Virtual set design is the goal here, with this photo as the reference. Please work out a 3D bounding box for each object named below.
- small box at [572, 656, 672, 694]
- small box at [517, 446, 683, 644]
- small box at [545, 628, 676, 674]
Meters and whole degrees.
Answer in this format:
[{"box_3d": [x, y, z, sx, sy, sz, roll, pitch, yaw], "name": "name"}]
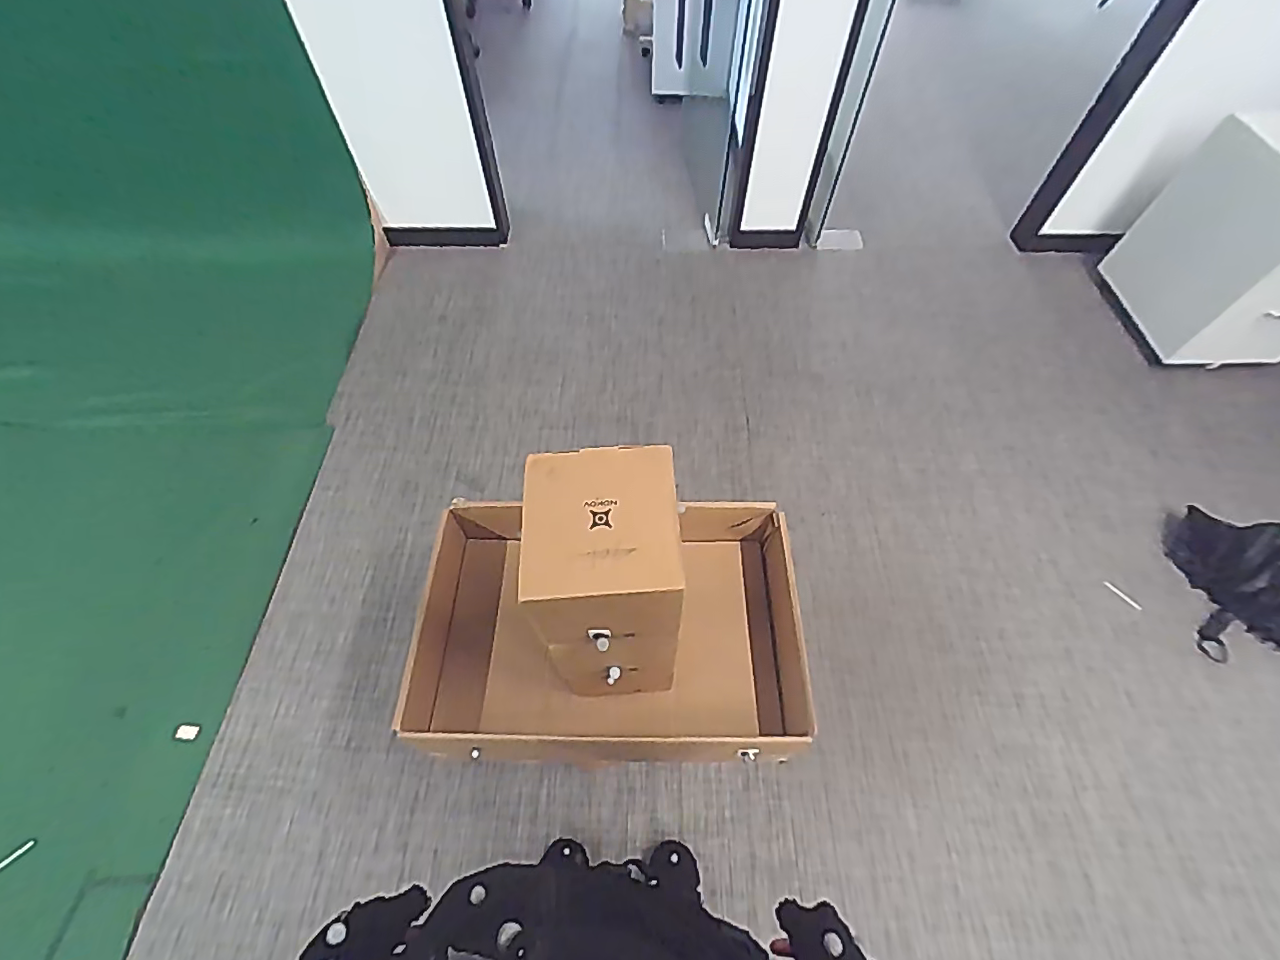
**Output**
[{"box_3d": [-0.036, 0.250, 0.918, 0.168, 0.176, 0.179, -5, 57, 0], "name": "small box"}, {"box_3d": [-0.043, 0.081, 0.641, 0.168, 0.176, 0.179, -5, 59, 0], "name": "small box"}, {"box_3d": [-0.041, 0.167, 0.777, 0.168, 0.176, 0.179, -4, 58, -1], "name": "small box"}]
